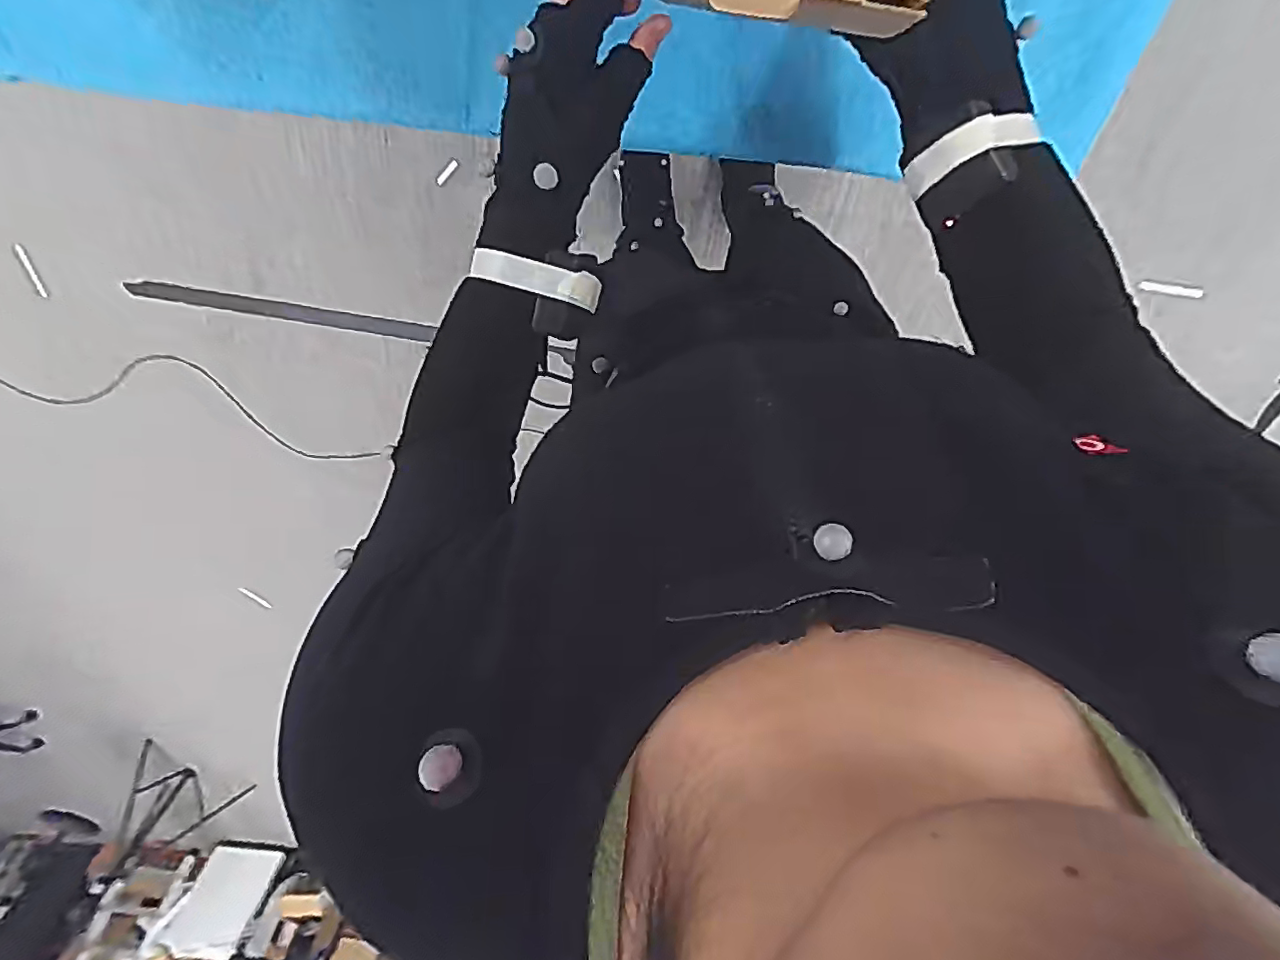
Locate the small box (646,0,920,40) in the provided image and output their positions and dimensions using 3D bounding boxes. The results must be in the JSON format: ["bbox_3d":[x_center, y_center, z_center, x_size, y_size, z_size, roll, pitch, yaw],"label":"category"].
[{"bbox_3d":[0.086,-0.358,0.285,0.168,0.179,0.176,14,127,5],"label":"small box"}]
